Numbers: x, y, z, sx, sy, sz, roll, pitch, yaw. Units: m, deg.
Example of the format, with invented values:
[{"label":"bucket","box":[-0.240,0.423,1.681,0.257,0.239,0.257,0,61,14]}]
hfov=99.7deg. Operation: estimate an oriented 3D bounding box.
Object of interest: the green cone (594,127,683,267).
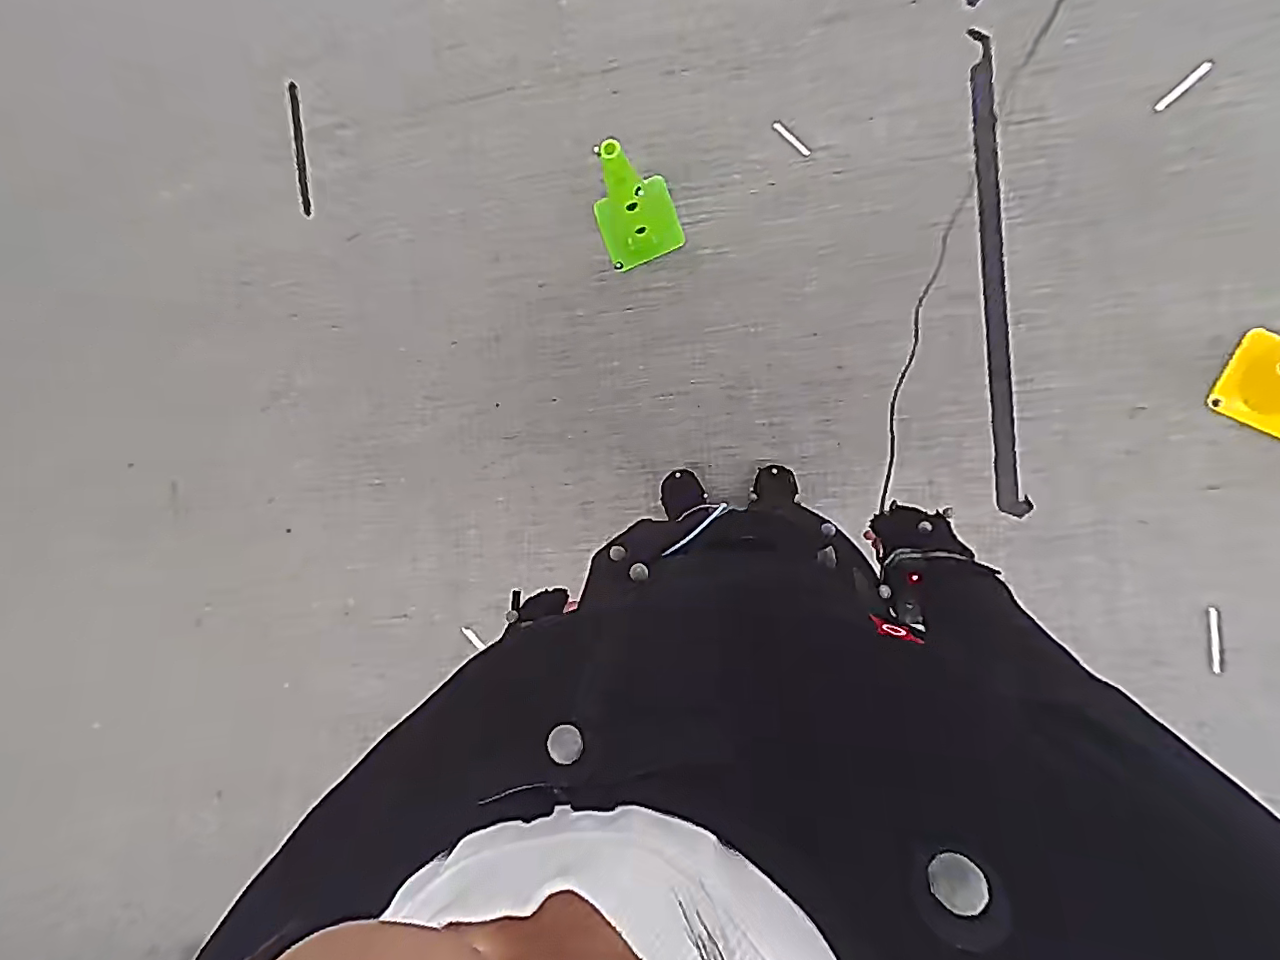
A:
[{"label":"green cone","box":[-0.031,-0.680,1.250,0.200,0.368,0.202,-21,87,9]}]
